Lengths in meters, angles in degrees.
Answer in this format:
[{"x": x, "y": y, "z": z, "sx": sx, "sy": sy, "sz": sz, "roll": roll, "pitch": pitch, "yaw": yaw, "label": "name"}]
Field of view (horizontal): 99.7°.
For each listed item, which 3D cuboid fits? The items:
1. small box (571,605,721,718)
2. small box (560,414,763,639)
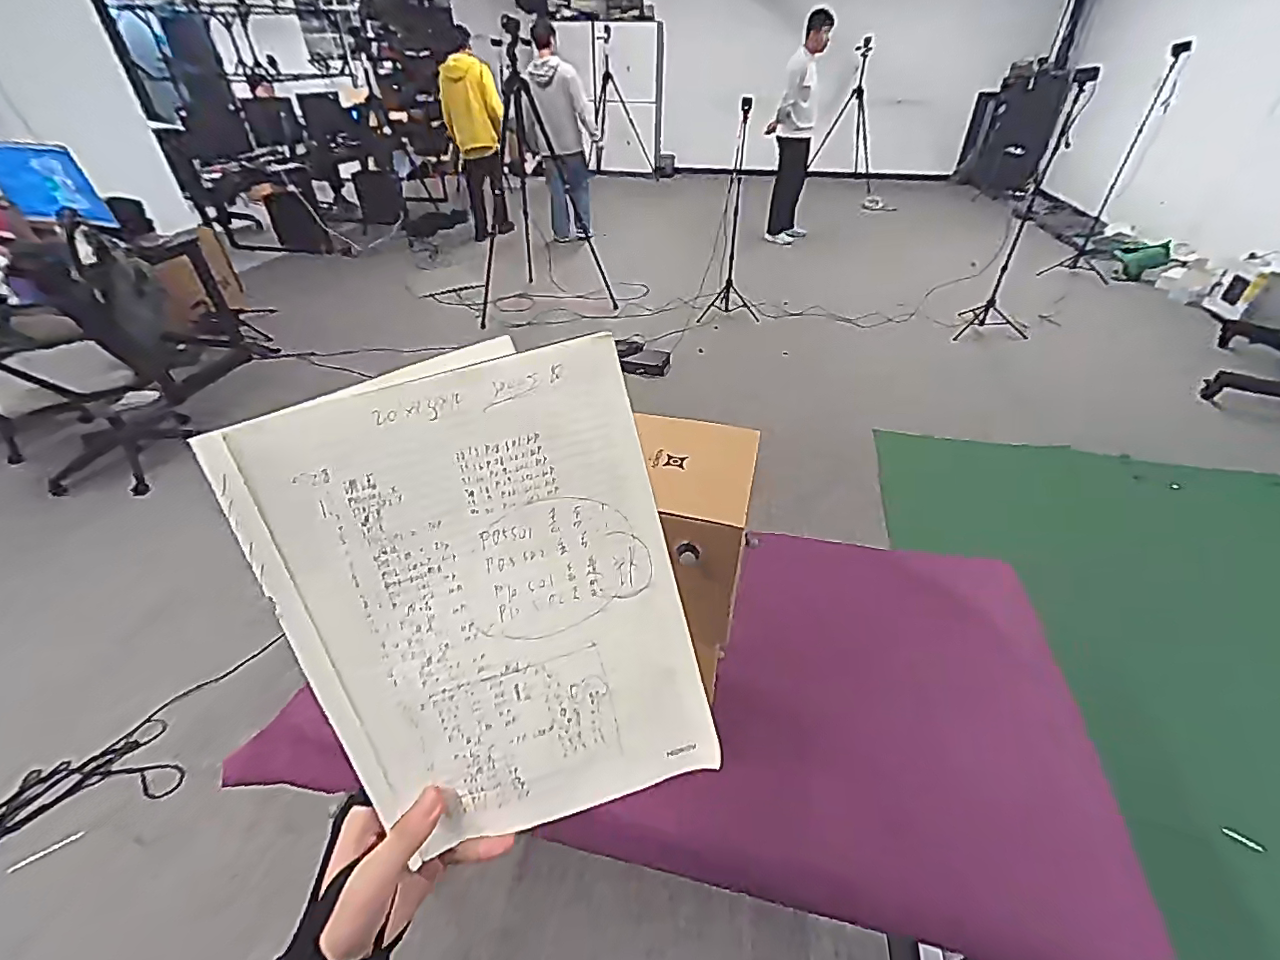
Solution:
[{"x": 0.022, "y": 0.176, "z": 0.701, "sx": 0.168, "sy": 0.176, "sz": 0.179, "roll": 8, "pitch": 37, "yaw": 11, "label": "small box"}, {"x": 0.029, "y": 0.049, "z": 0.595, "sx": 0.179, "sy": 0.176, "sz": 0.168, "roll": 9, "pitch": 37, "yaw": 13, "label": "small box"}]
